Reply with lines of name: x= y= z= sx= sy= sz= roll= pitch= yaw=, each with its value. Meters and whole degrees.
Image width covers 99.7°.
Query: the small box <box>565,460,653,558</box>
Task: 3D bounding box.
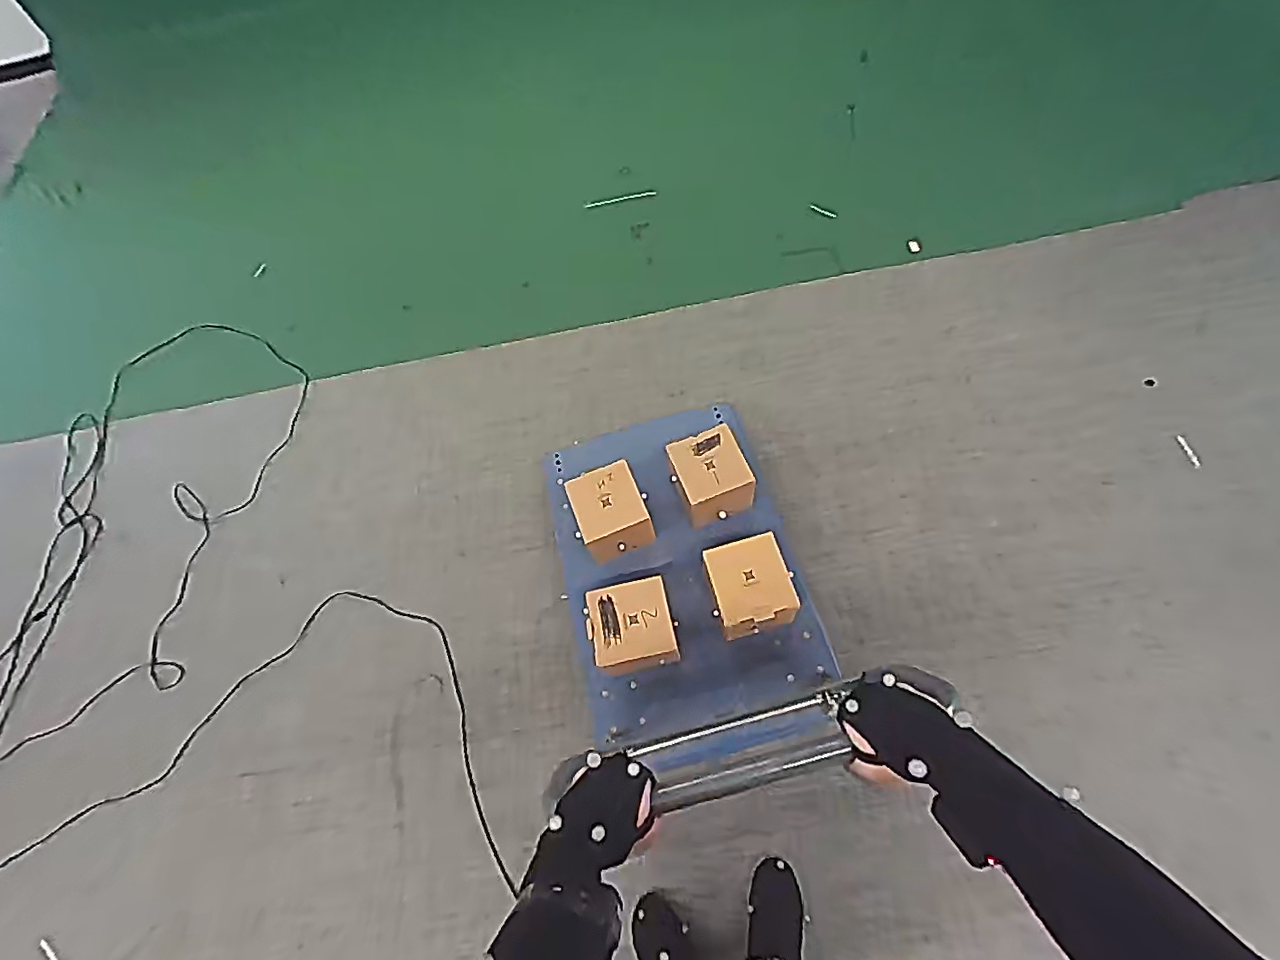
small box: x=-0.073 y=0.084 z=1.371 sx=0.168 sy=0.176 sz=0.179 roll=-21 pitch=64 yaw=-4

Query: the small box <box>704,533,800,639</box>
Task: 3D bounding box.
small box: x=0.248 y=0.249 z=1.248 sx=0.168 sy=0.176 sz=0.179 roll=-16 pitch=63 yaw=0

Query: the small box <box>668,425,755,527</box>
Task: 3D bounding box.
small box: x=0.178 y=-0.005 z=1.380 sx=0.168 sy=0.176 sz=0.179 roll=-21 pitch=64 yaw=-2
